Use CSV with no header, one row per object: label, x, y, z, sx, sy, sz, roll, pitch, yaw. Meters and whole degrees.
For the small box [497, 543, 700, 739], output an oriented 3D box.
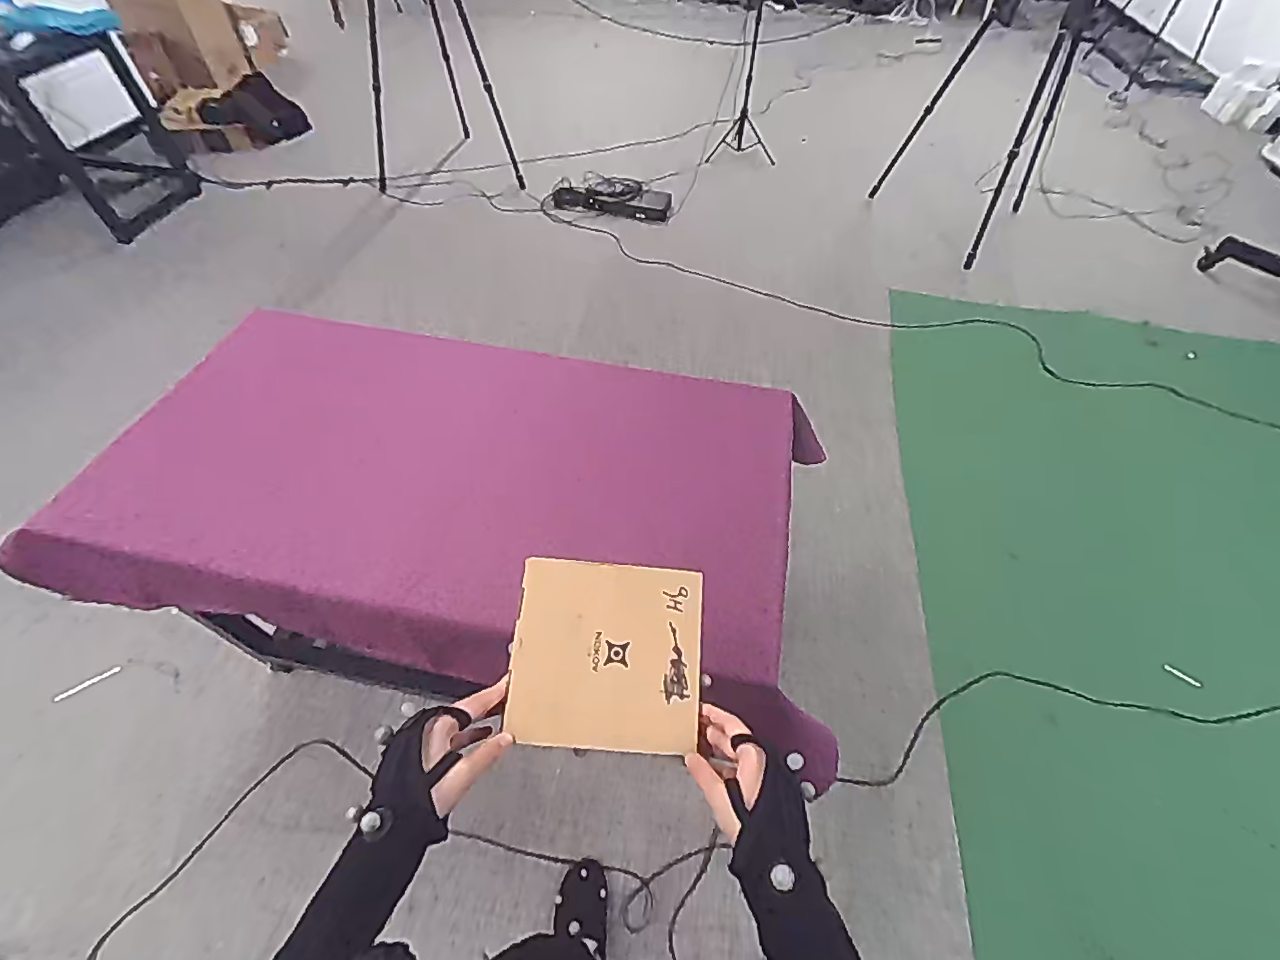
small box,-0.038,0.177,0.581,0.179,0.176,0.168,6,67,-1
